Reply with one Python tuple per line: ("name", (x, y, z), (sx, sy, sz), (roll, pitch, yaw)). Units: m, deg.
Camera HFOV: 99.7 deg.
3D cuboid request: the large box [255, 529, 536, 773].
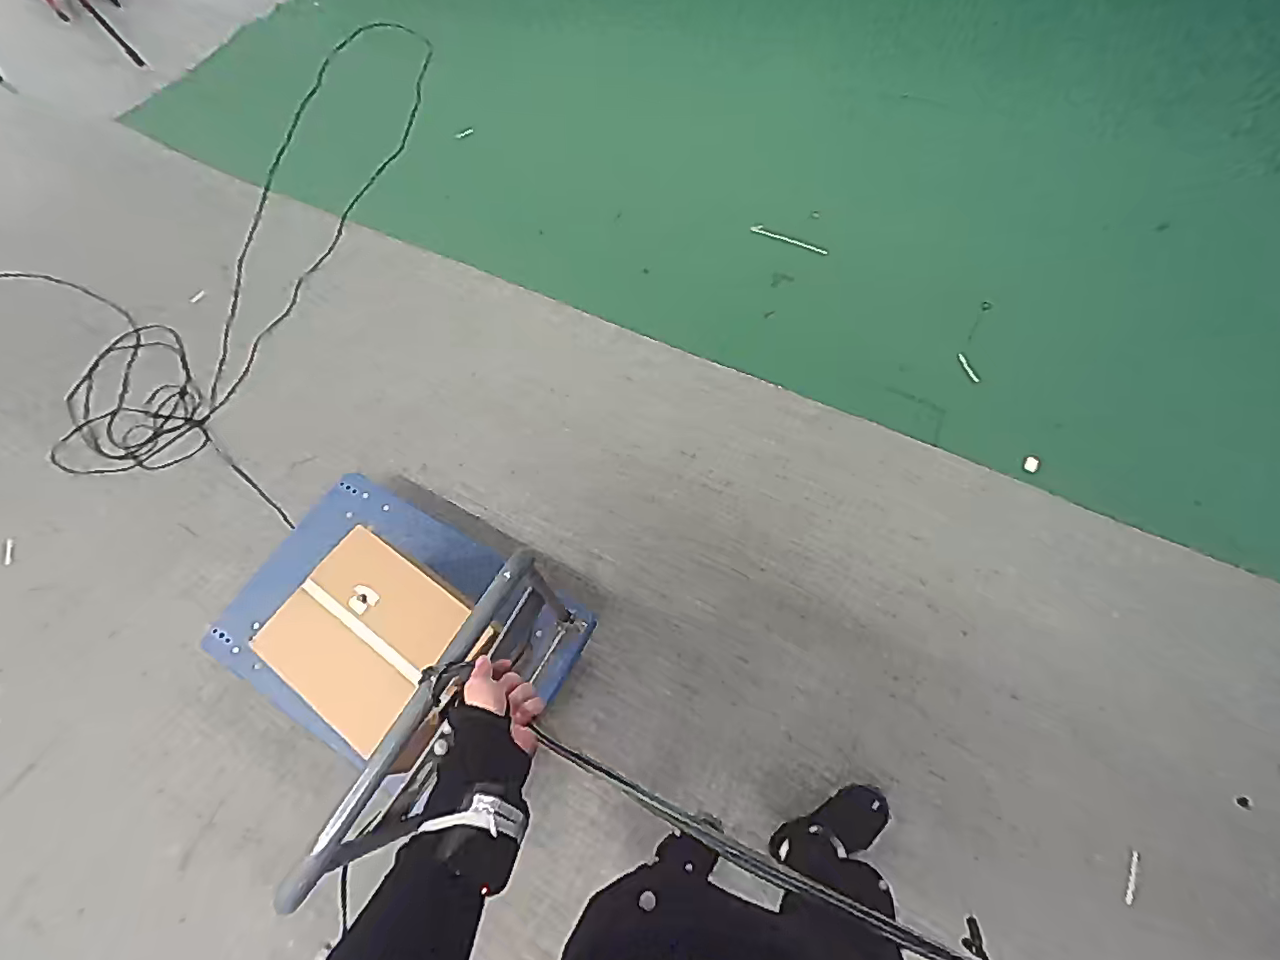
("large box", (-0.507, 0.375, 1.195), (0.408, 0.320, 0.320), (31, 71, 18))
